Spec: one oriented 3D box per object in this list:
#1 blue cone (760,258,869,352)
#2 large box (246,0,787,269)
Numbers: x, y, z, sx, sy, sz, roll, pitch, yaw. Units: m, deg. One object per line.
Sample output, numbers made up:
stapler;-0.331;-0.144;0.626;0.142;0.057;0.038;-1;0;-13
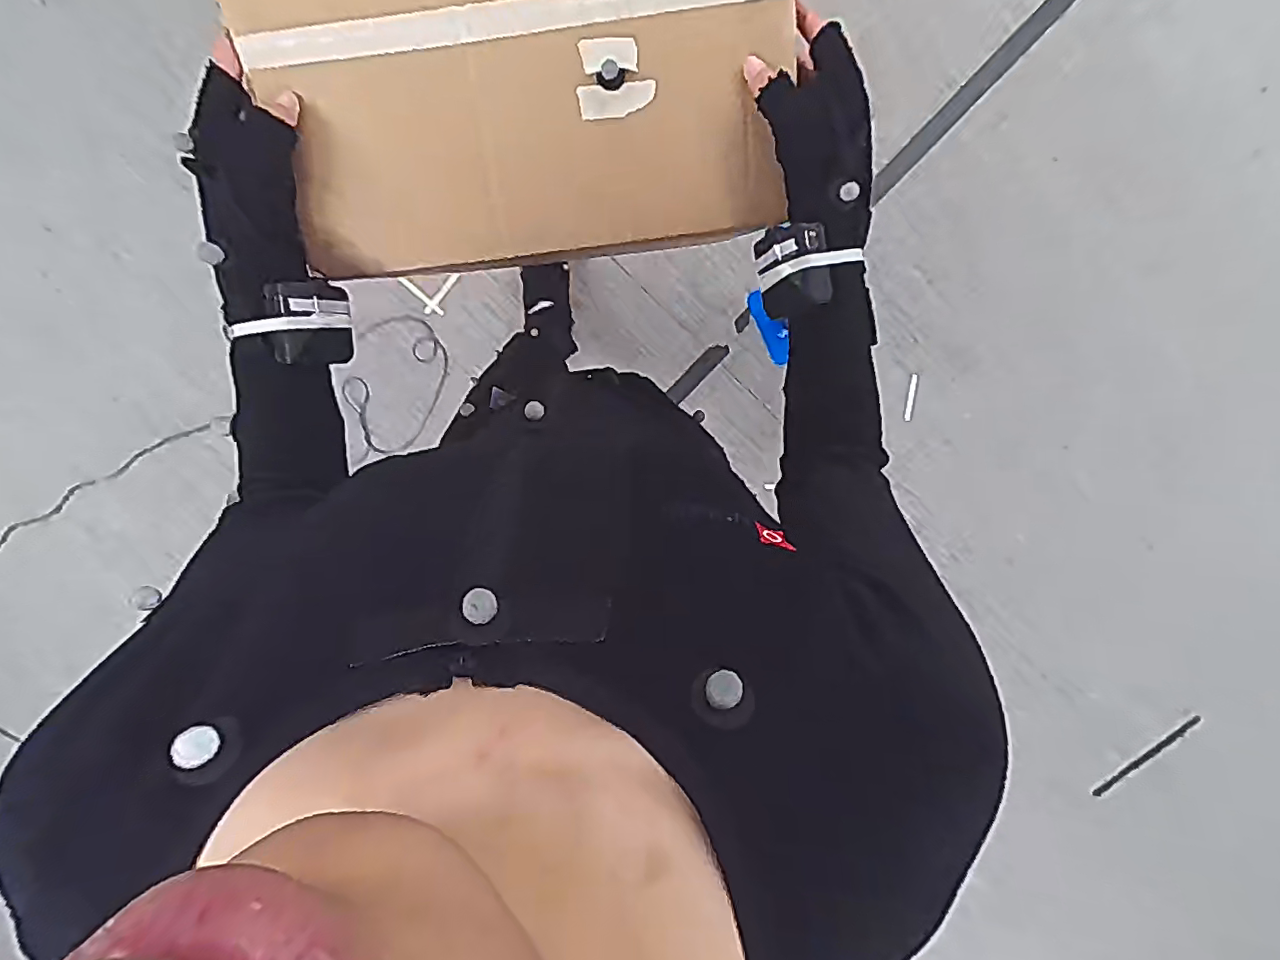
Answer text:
blue cone;0.409;-0.393;1.201;0.192;0.380;0.193;-25;104;7
large box;-0.097;-0.403;0.543;0.408;0.320;0.320;-7;112;1
